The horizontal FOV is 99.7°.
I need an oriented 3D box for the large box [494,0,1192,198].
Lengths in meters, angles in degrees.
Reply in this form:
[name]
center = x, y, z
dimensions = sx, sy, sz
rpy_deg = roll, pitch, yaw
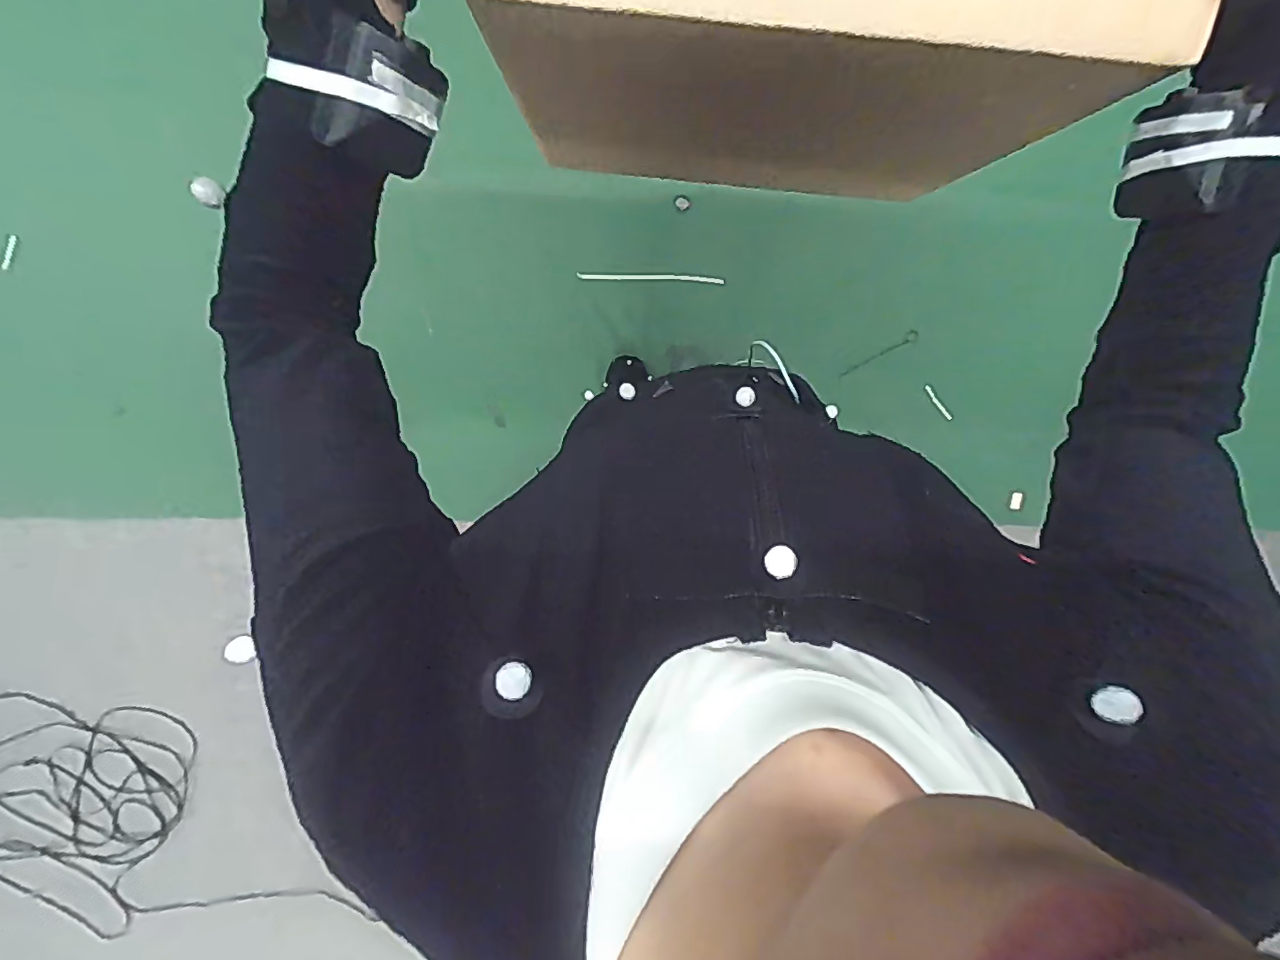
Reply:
[large box]
center = 0.116, -0.434, 0.412
dimensions = 0.408, 0.320, 0.320
rpy_deg = 4, 104, -3
